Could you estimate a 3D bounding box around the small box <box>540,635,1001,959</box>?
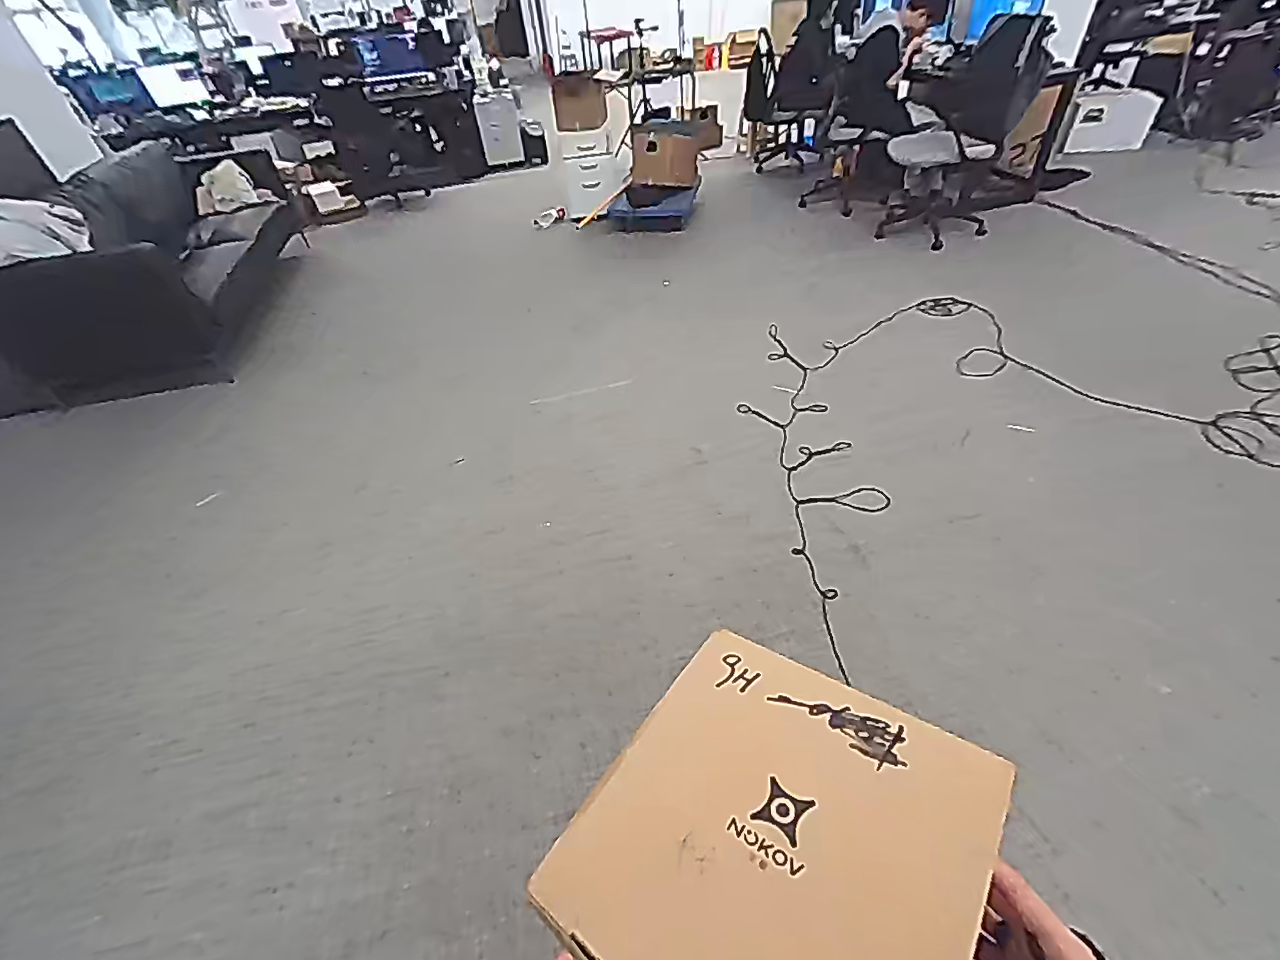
[{"bbox_3d":[0.079,0.232,0.307,0.168,0.176,0.179,17,44,35],"label":"small box"}]
